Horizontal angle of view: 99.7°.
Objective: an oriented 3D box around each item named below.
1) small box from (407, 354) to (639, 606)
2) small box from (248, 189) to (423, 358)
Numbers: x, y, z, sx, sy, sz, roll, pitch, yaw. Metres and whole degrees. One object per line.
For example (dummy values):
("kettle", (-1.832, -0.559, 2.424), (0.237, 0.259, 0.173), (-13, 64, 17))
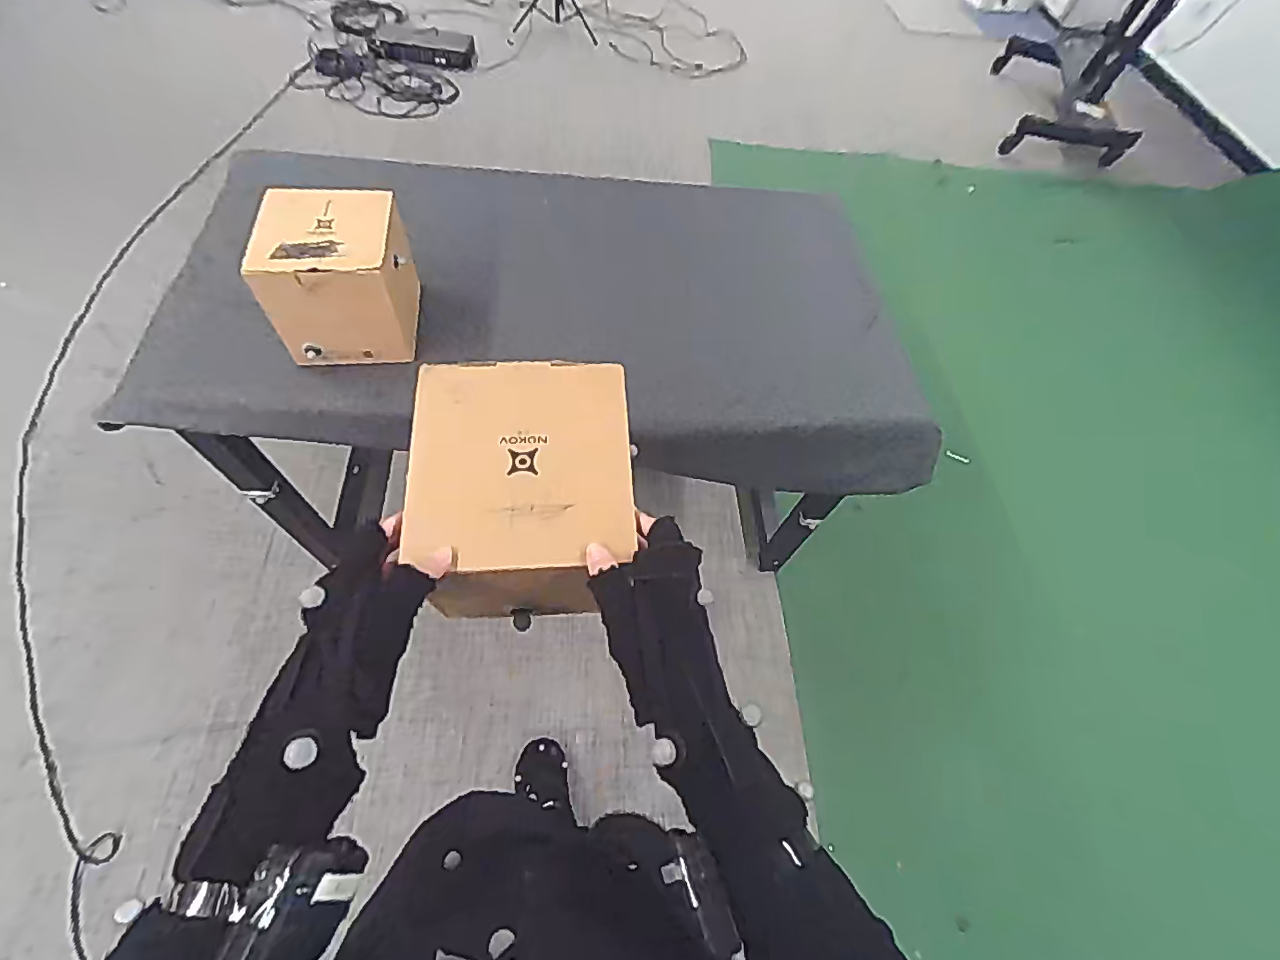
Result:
("small box", (-0.095, 0.007, 0.489), (0.168, 0.176, 0.179), (-2, 67, -7))
("small box", (-0.423, -0.293, 0.787), (0.168, 0.176, 0.179), (-4, 59, -10))
